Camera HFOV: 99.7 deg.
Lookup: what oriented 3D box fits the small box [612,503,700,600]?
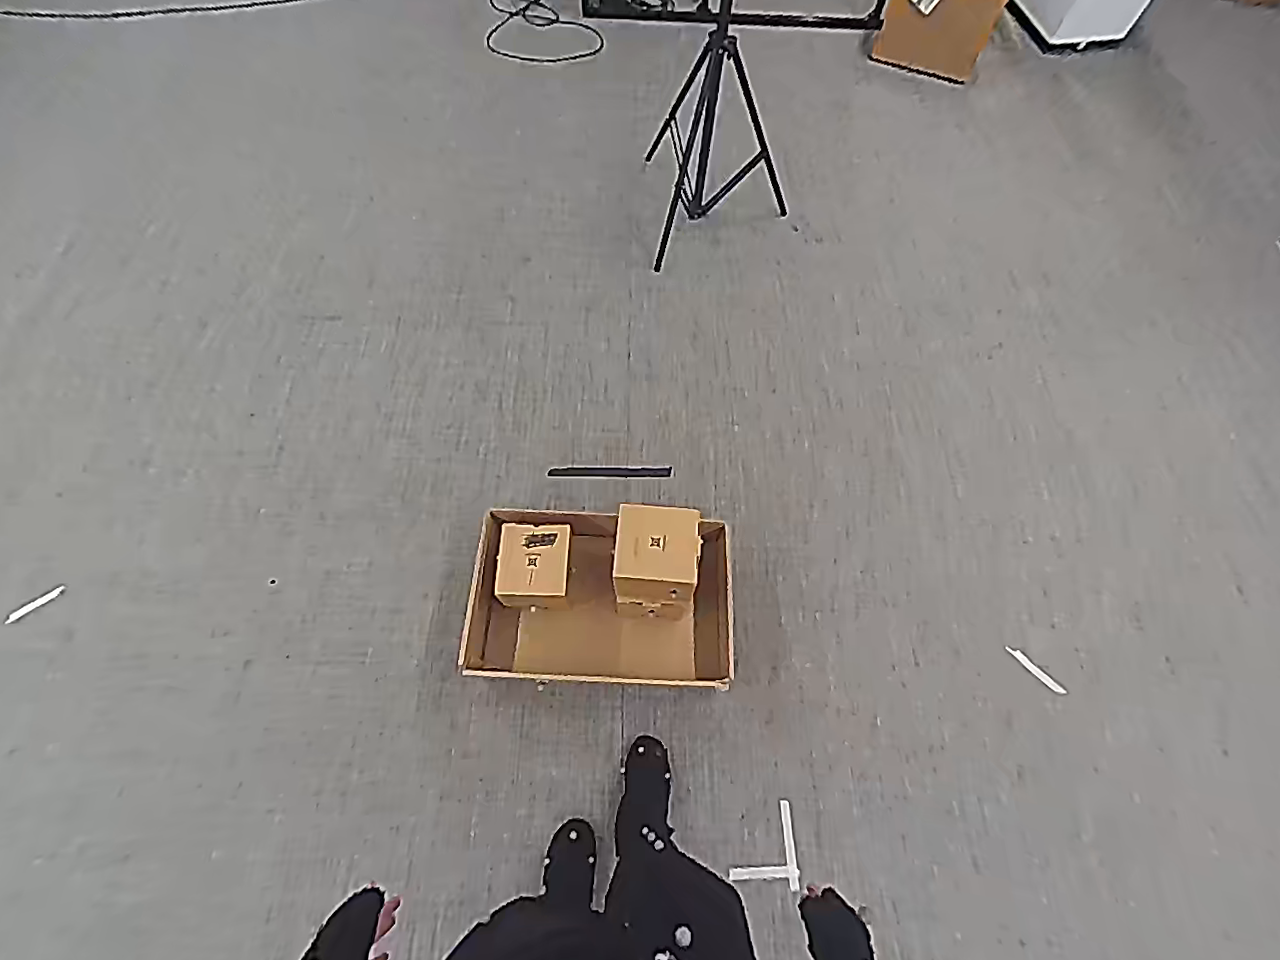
[{"bbox_3d":[0.036,0.164,1.203,0.179,0.176,0.168,3,64,2],"label":"small box"}]

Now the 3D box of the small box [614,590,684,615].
[{"bbox_3d":[0.029,0.237,1.351,0.168,0.176,0.179,3,67,3],"label":"small box"}]
